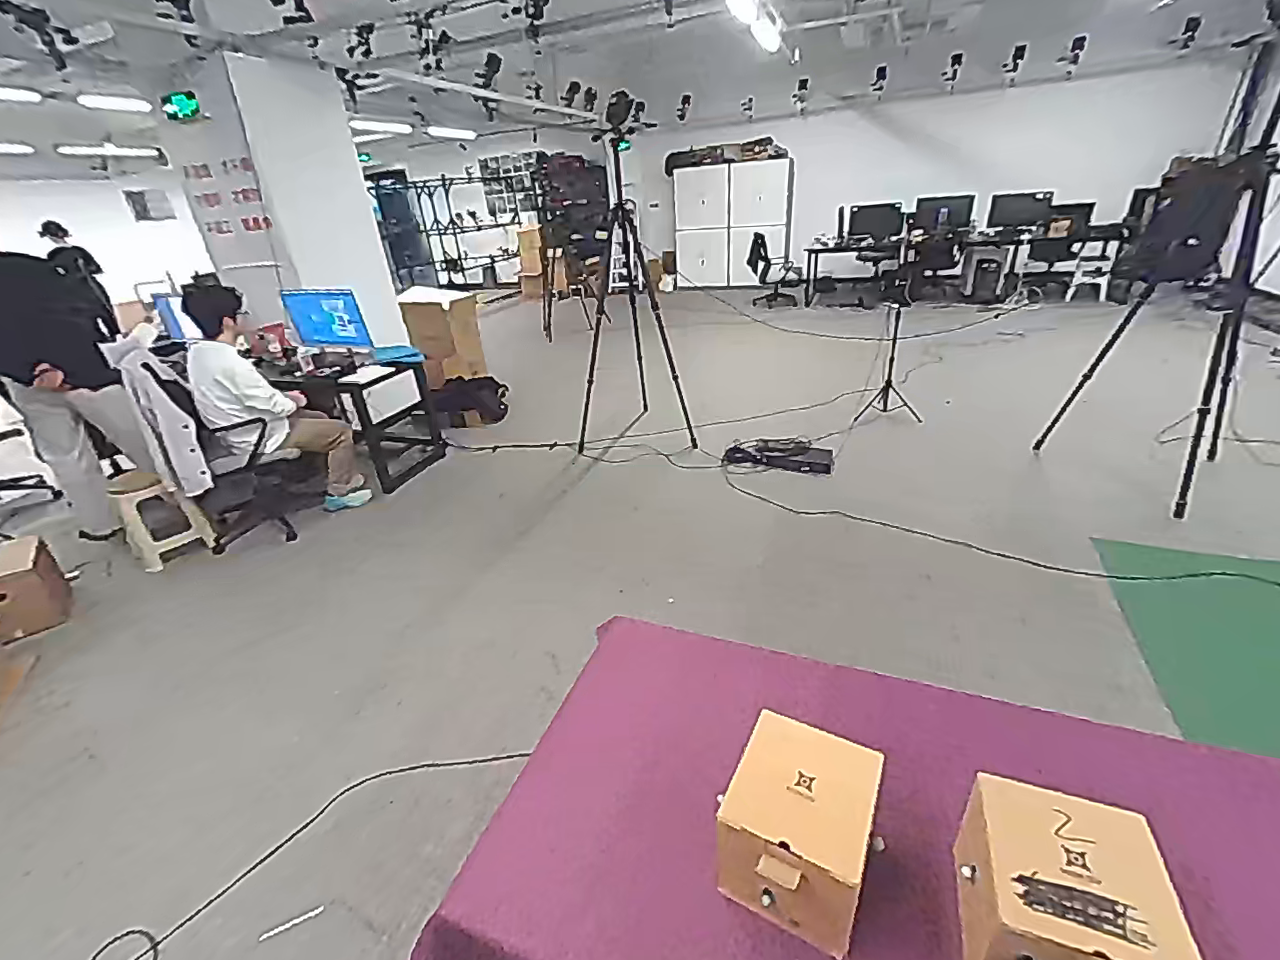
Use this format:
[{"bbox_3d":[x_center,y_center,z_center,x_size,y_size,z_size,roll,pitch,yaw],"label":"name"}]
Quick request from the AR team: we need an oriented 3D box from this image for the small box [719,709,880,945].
[{"bbox_3d":[0.213,0.459,0.730,0.168,0.176,0.179,11,33,28],"label":"small box"}]
